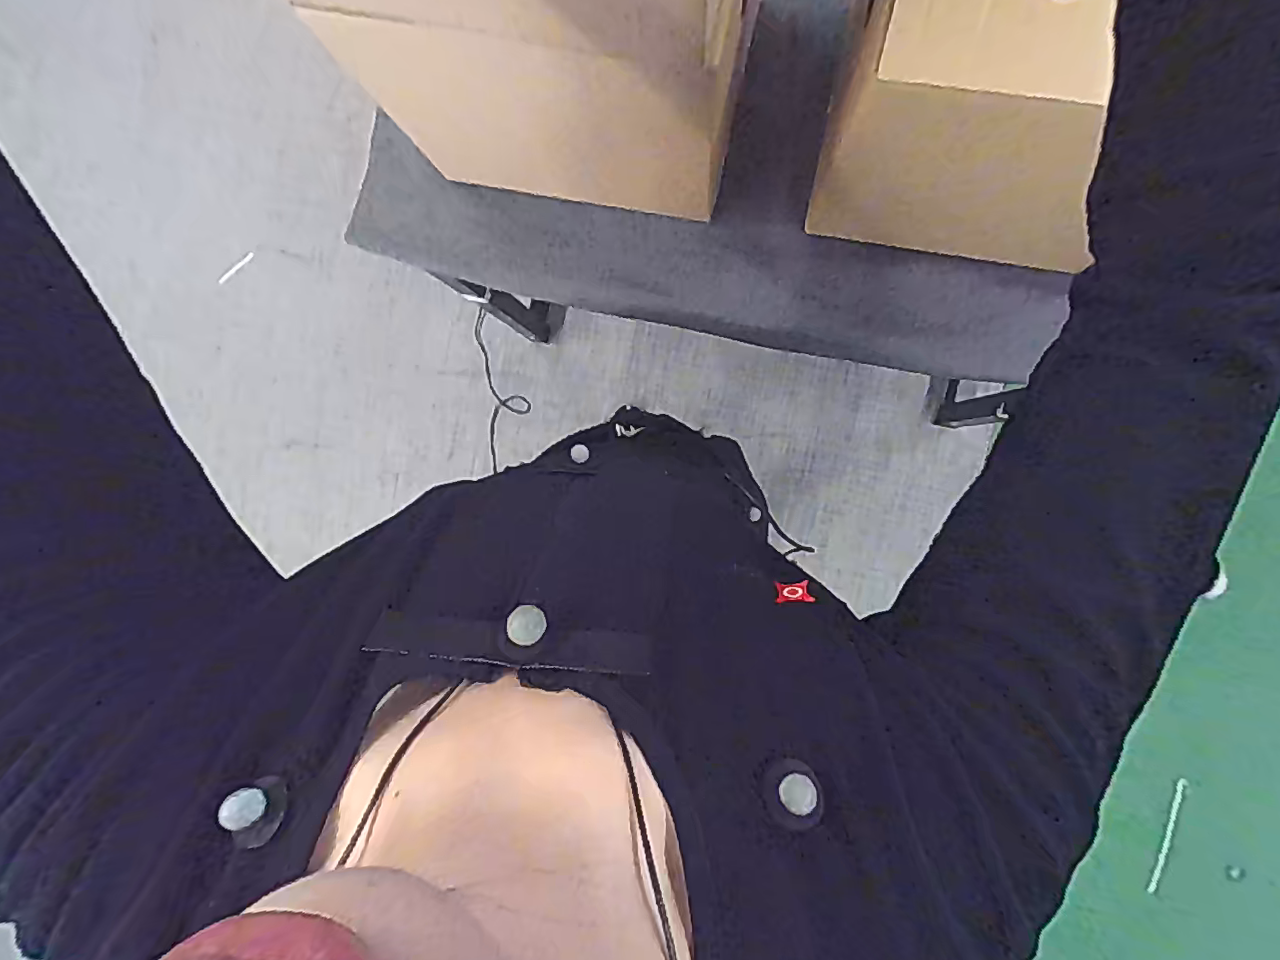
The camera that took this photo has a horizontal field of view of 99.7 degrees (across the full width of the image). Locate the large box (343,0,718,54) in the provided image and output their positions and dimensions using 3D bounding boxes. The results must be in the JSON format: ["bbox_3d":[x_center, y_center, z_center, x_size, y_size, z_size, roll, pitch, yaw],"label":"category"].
[{"bbox_3d":[-0.116,-0.537,0.315,0.408,0.320,0.320,13,95,4],"label":"large box"}]
